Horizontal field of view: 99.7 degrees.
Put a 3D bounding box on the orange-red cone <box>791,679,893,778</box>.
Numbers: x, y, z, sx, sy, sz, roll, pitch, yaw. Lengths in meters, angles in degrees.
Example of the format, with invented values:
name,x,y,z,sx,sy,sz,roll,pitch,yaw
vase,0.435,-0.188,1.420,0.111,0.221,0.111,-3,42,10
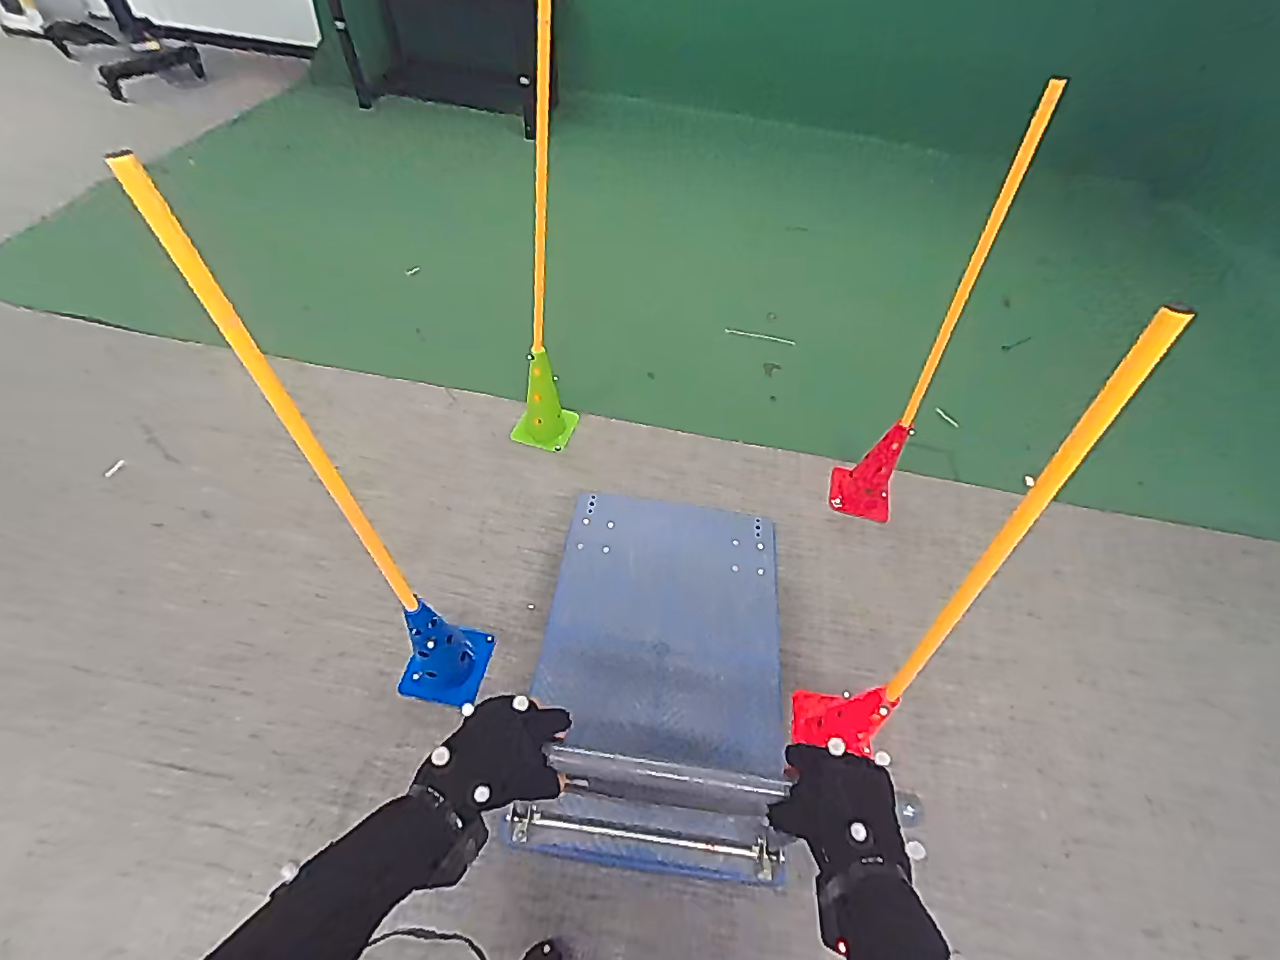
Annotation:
name,x,y,z,sx,sy,sz,roll,pitch,yaw
orange-red cone,0.498,0.542,1.262,0.199,0.360,0.198,10,52,4

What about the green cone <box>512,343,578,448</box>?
name,x,y,z,sx,sy,sz,roll,pitch,yaw
green cone,-0.333,-0.309,1.833,0.202,0.368,0.200,14,52,7
